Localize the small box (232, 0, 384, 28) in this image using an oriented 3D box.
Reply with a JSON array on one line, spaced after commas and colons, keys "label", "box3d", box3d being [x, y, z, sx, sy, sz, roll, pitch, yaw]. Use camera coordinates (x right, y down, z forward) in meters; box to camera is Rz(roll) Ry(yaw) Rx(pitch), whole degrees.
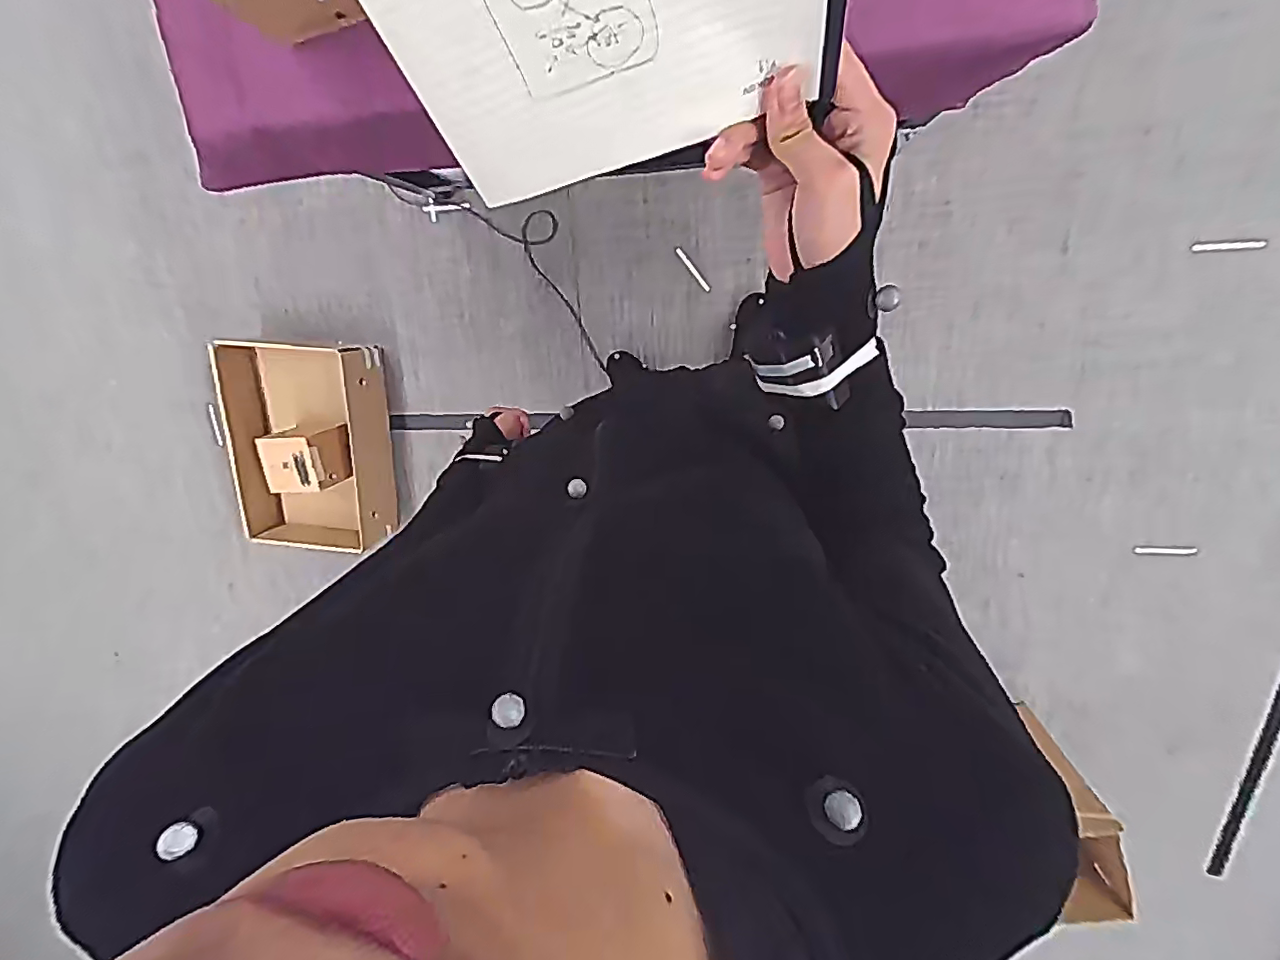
[{"label": "small box", "box3d": [-0.434, -0.675, 0.633, 0.168, 0.176, 0.179, -8, 107, 10]}]
